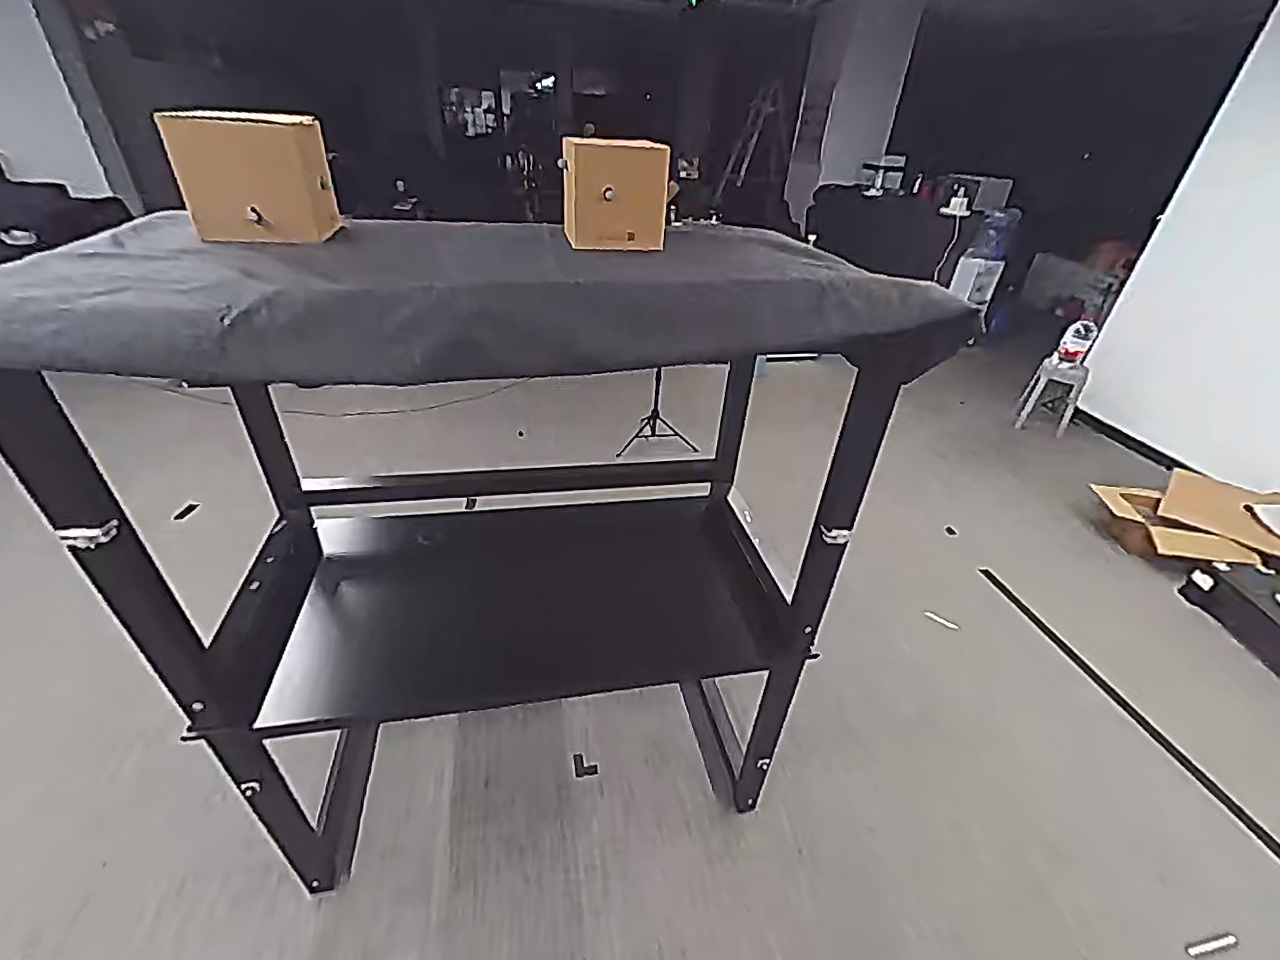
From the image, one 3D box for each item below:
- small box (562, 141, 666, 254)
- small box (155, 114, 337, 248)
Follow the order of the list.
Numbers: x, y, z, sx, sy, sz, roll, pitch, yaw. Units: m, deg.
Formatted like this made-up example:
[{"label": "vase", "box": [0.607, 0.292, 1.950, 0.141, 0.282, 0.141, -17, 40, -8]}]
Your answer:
[{"label": "small box", "box": [-0.053, -0.525, 1.005, 0.168, 0.176, 0.179, -5, 35, -12]}, {"label": "small box", "box": [-0.614, -0.481, 0.876, 0.179, 0.176, 0.168, -4, 35, -14]}]
